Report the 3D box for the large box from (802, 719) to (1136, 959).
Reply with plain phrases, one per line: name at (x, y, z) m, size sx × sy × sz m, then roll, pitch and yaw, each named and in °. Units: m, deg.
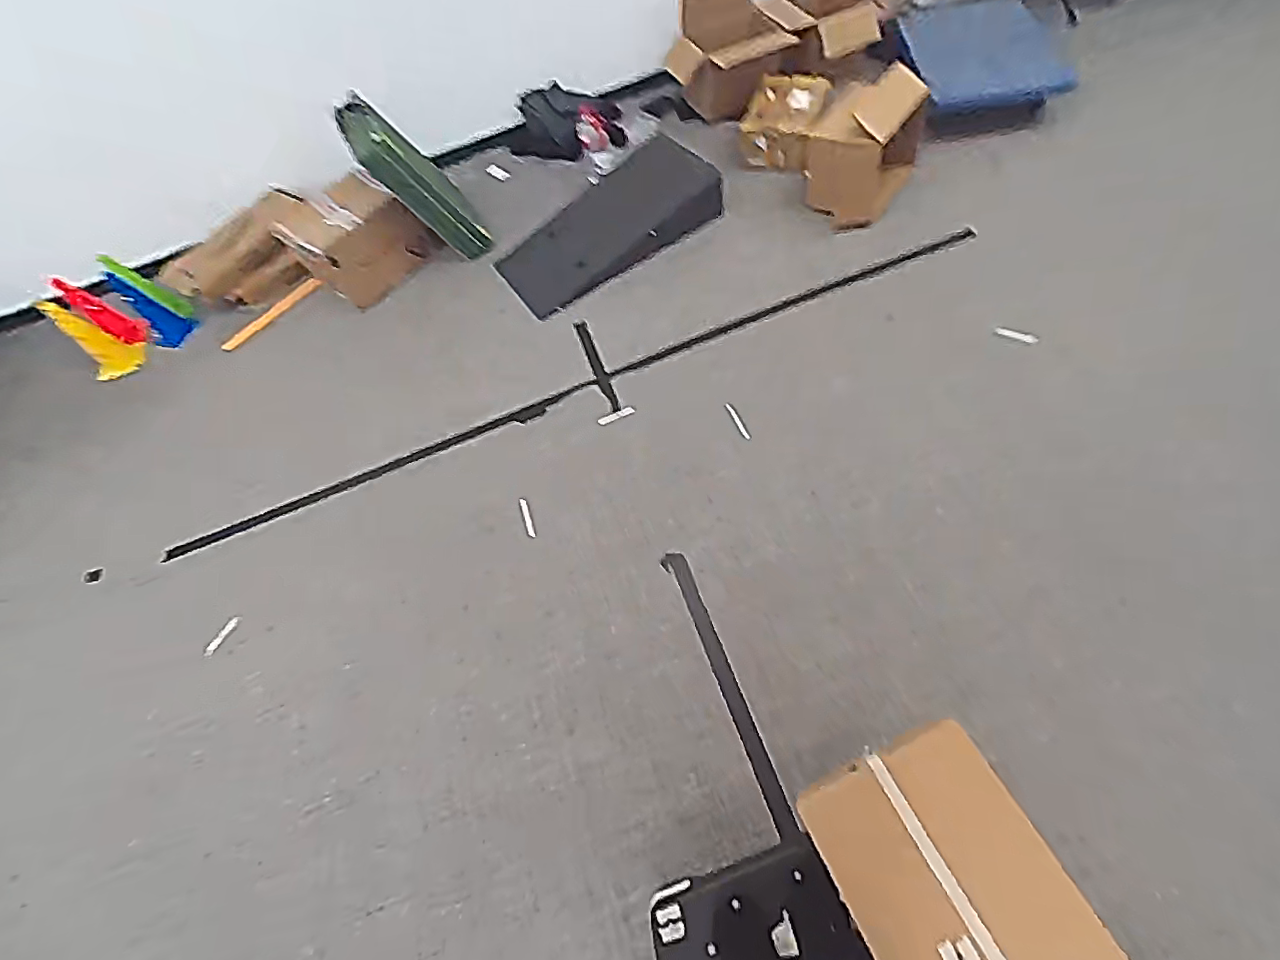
large box at (0.529, 0.692, 0.953) m, size 0.320 × 0.320 × 0.408 m, roll -29°, pitch 60°, yaw 2°
